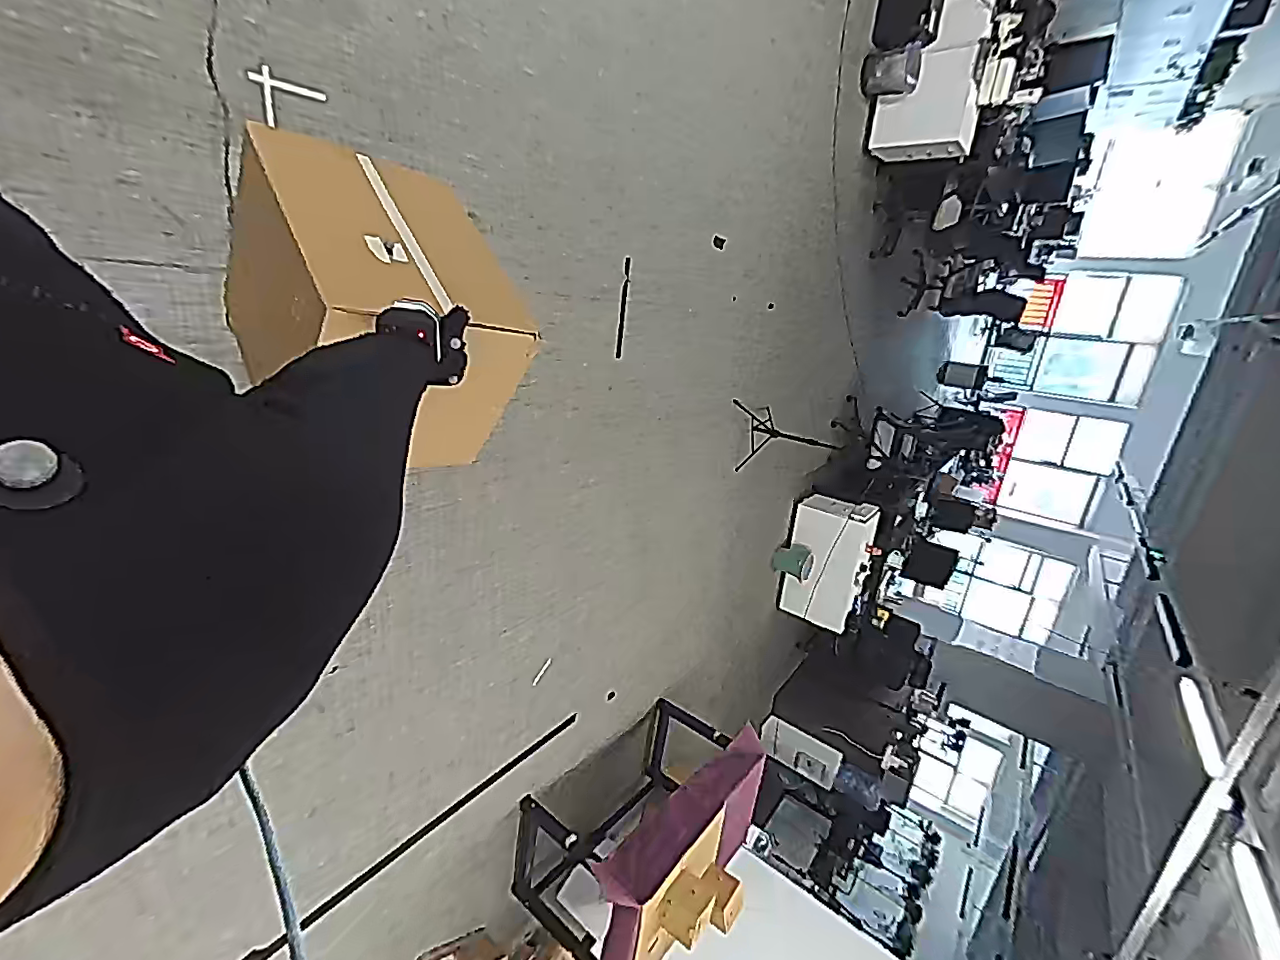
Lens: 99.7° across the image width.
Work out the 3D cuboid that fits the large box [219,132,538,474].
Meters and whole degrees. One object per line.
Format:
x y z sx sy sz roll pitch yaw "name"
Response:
-0.447 -0.266 0.899 0.320 0.408 0.320 -9 149 -48 "large box"
